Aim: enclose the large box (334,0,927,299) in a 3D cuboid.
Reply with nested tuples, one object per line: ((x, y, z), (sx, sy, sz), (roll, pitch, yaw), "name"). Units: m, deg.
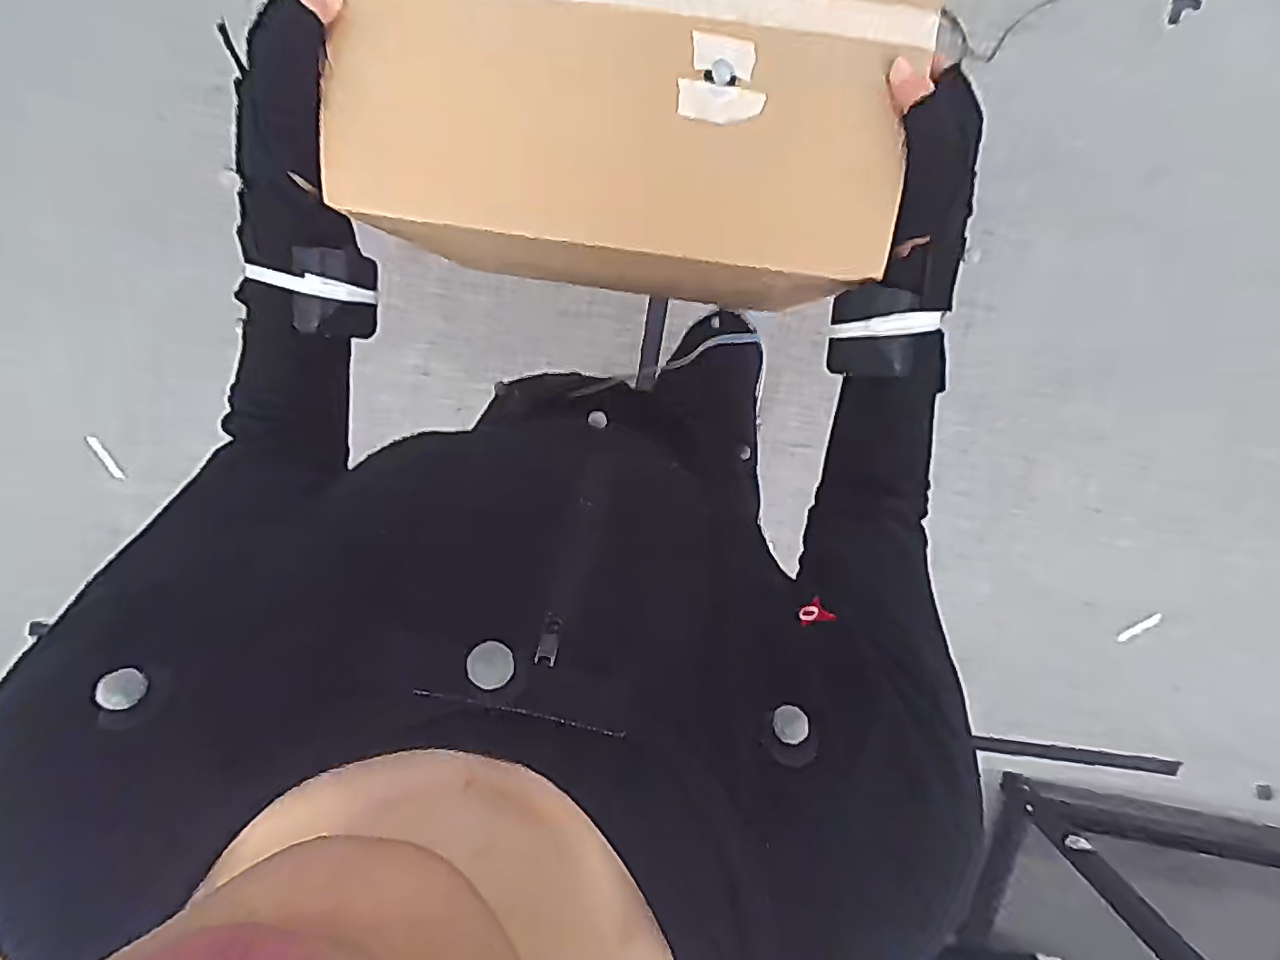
((-0.007, -0.362, 0.507), (0.408, 0.320, 0.320), (7, 105, -2), "large box")
